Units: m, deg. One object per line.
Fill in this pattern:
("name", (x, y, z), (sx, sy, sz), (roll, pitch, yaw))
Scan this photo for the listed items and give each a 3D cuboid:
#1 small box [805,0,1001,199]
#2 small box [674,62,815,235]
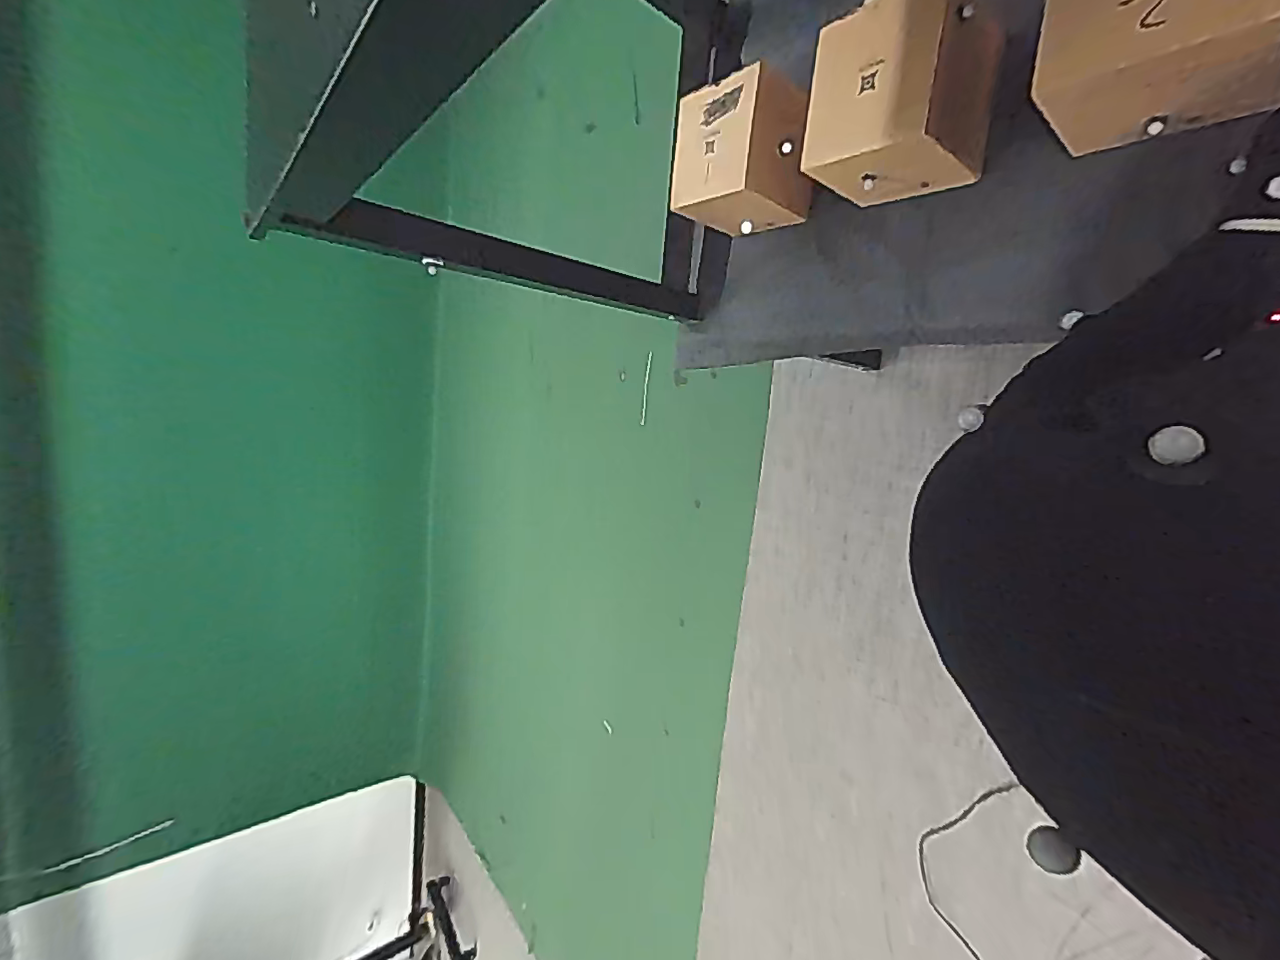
("small box", (0.343, -0.489, 0.707), (0.168, 0.176, 0.179), (15, 102, 49))
("small box", (0.180, -0.531, 0.896), (0.168, 0.176, 0.179), (16, 103, 49))
